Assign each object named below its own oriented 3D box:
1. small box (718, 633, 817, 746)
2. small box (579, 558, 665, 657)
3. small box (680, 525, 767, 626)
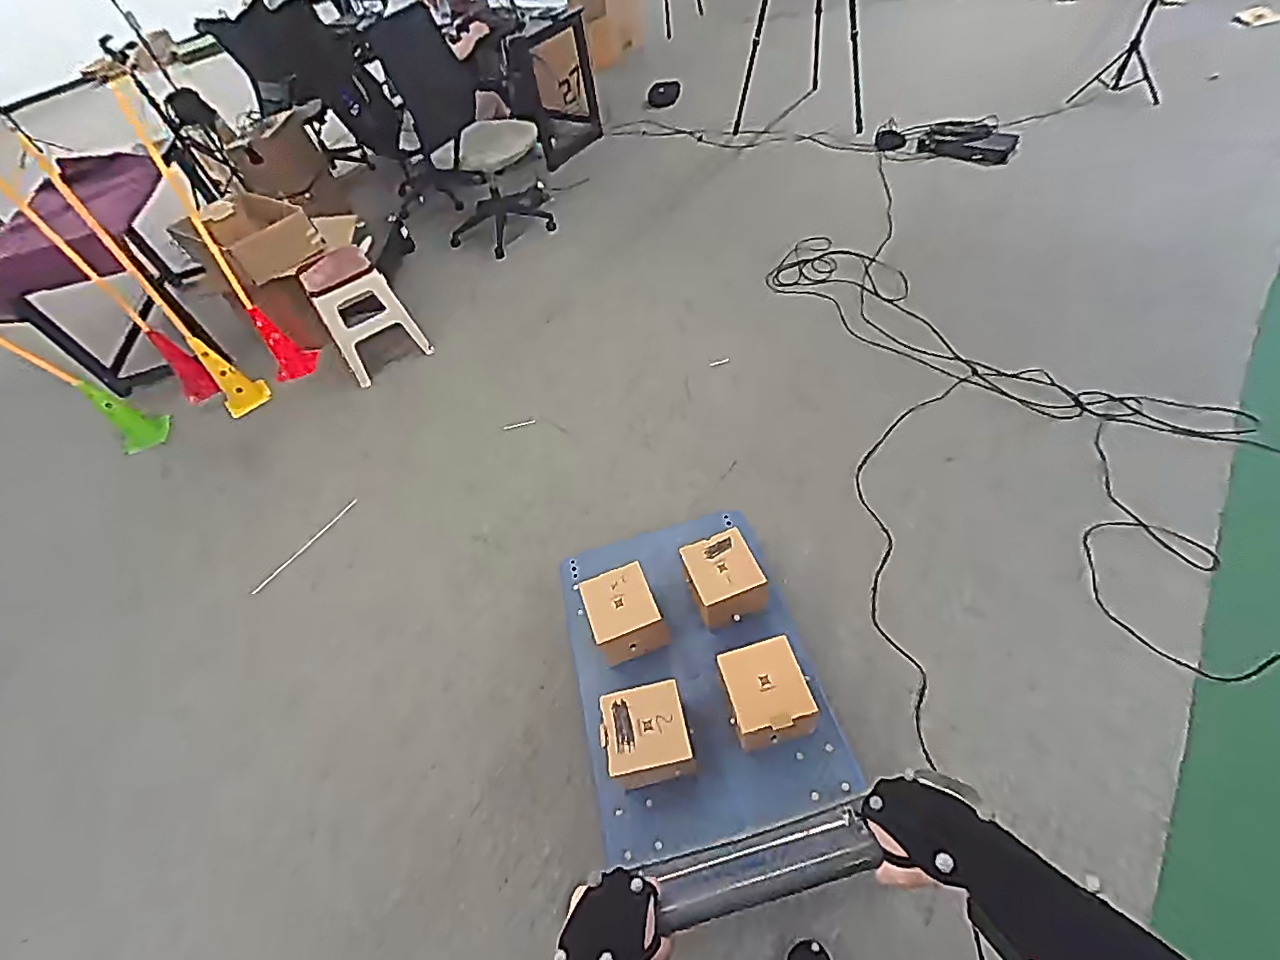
[{"bbox_3d":[0.280,0.478,1.227,0.168,0.176,0.179,-16,52,-2],"label":"small box"},{"bbox_3d":[-0.043,0.336,1.390,0.168,0.176,0.179,-19,52,-6],"label":"small box"},{"bbox_3d":[0.214,0.252,1.410,0.168,0.176,0.179,-20,53,-5],"label":"small box"}]
